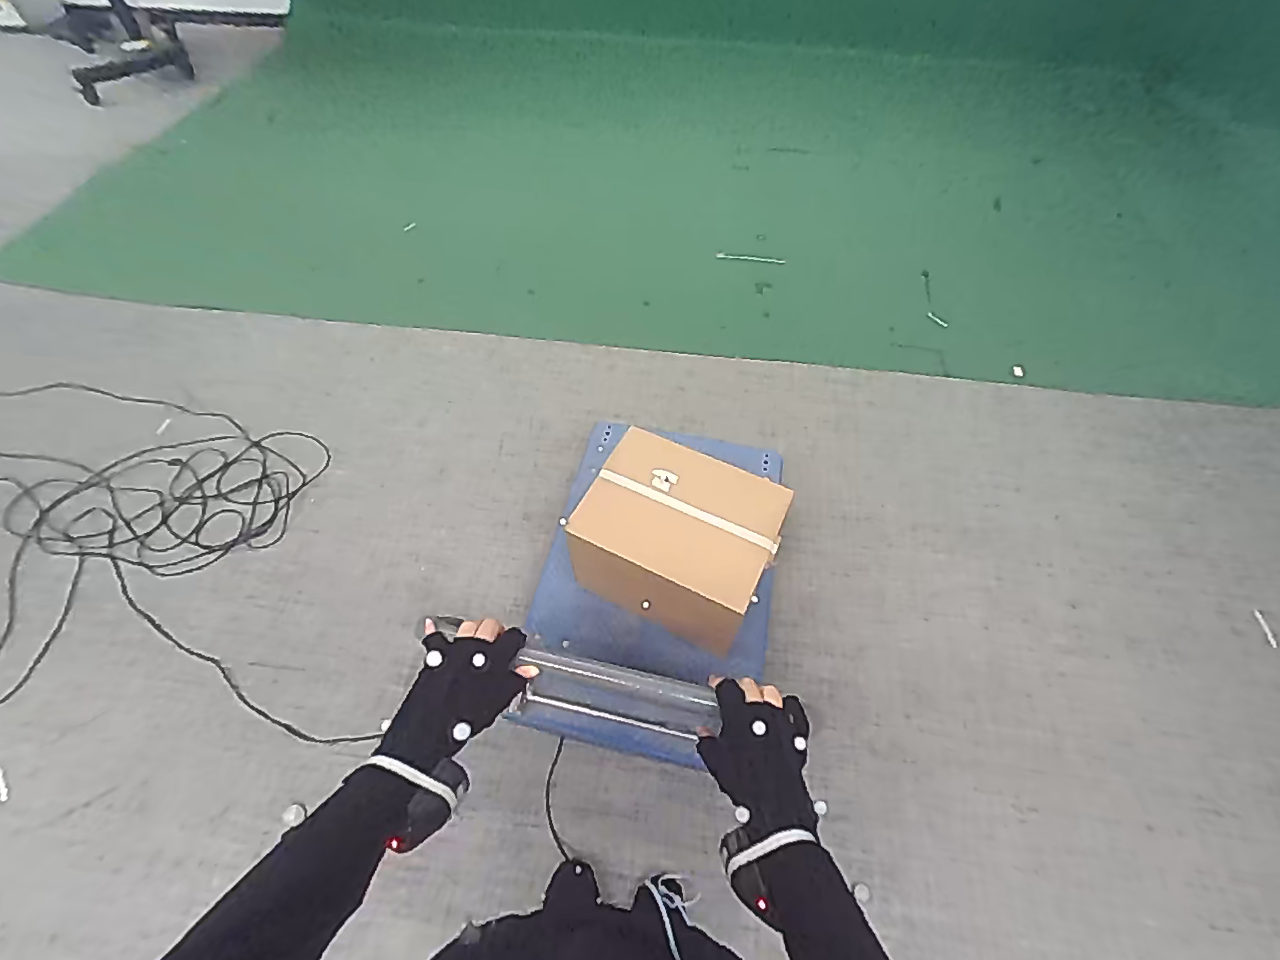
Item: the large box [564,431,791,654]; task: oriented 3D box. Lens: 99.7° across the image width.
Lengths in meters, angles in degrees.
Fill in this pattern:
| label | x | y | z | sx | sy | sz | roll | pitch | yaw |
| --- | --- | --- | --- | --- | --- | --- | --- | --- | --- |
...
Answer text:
| label | x | y | z | sx | sy | sz | roll | pitch | yaw |
| --- | --- | --- | --- | --- | --- | --- | --- | --- | --- |
| large box | 0.088 | 0.151 | 1.268 | 0.408 | 0.320 | 0.320 | 24 | 60 | 15 |
